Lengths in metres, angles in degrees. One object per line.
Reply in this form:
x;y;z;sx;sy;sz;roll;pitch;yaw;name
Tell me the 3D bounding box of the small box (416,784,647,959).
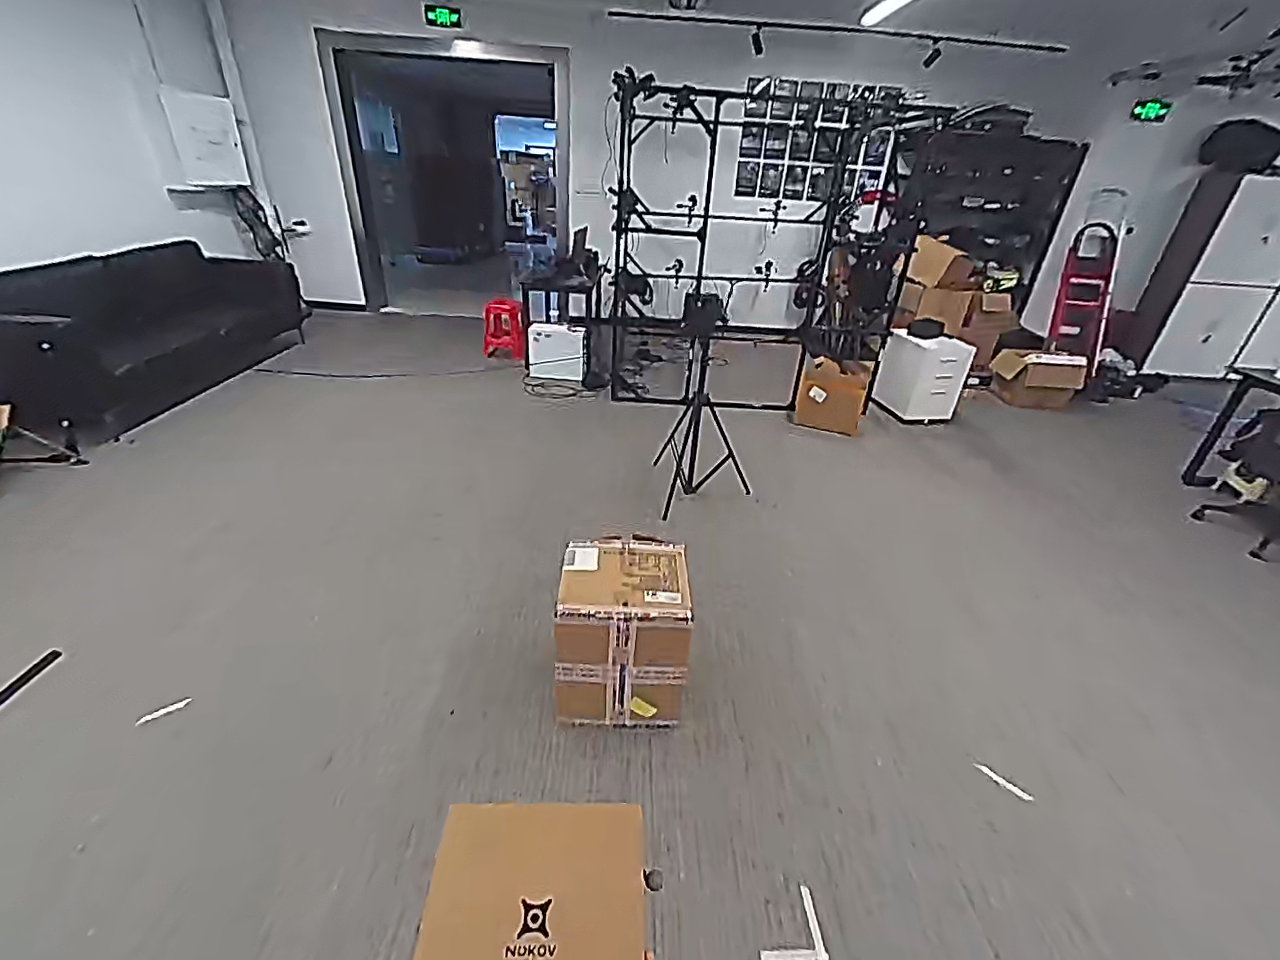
-0.079;0.385;0.456;0.168;0.176;0.179;0;38;-1;small box
